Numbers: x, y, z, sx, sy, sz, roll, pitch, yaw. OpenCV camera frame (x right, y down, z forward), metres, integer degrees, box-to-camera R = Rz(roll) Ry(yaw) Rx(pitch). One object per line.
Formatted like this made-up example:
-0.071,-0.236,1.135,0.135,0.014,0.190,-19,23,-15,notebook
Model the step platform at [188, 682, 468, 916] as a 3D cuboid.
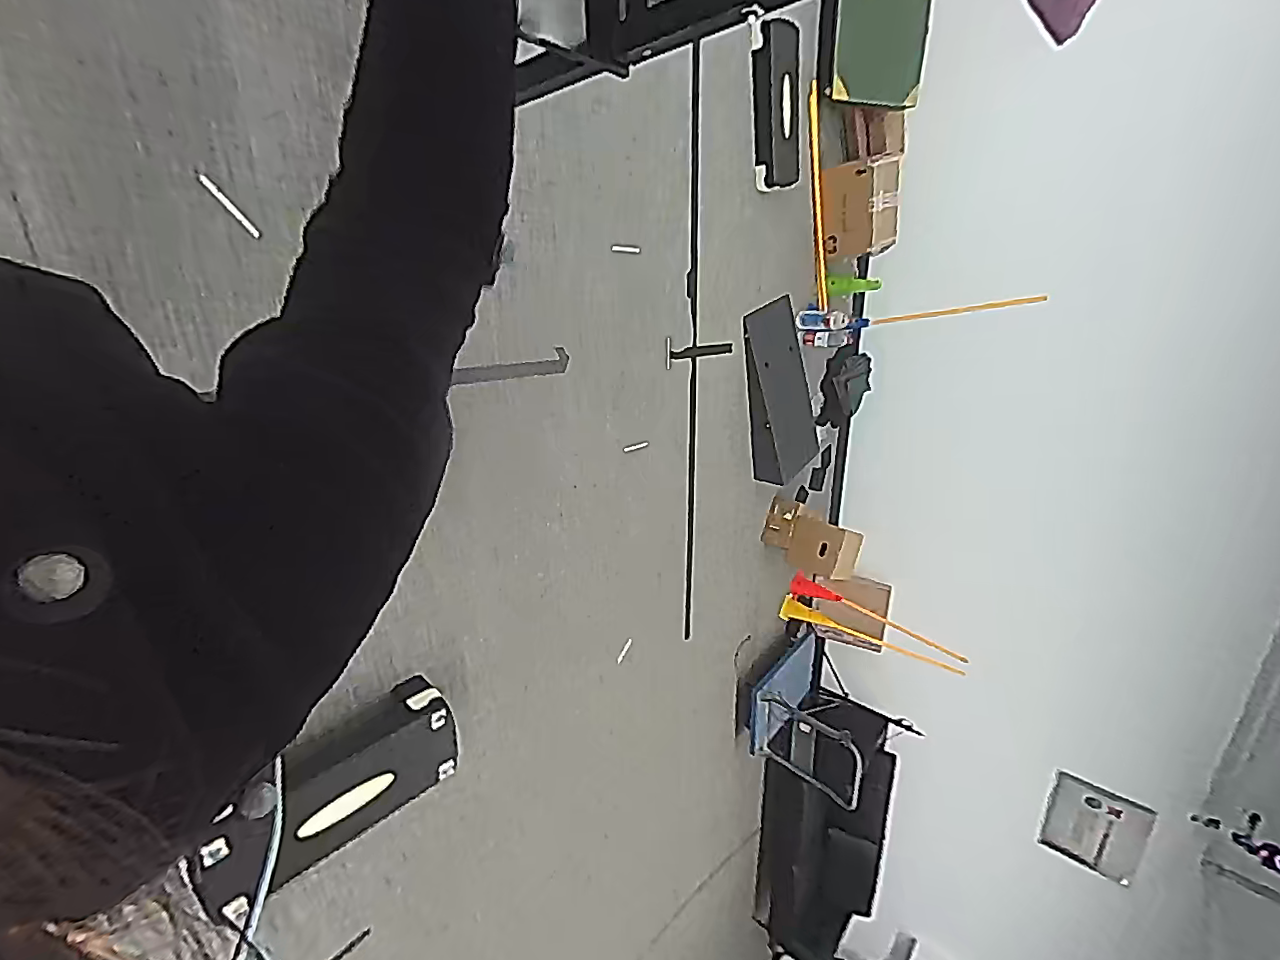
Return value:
-0.831,0.861,1.543,0.684,0.204,0.286,-13,111,-48,step platform
